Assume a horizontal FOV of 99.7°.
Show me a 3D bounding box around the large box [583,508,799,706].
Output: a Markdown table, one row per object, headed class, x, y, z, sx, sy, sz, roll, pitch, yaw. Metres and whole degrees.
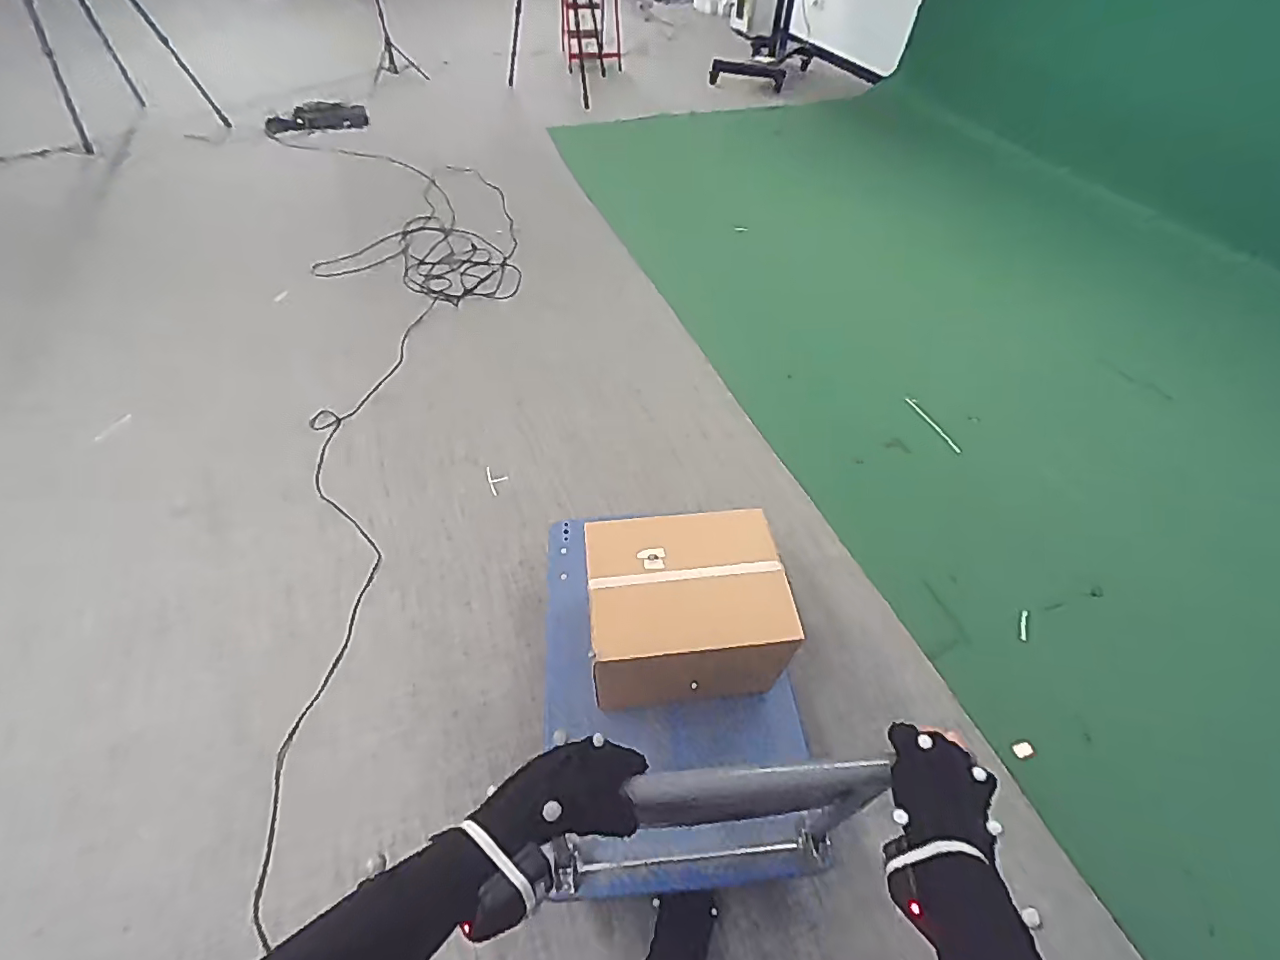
| class | x | y | z | sx | sy | sz | roll | pitch | yaw |
| --- | --- | --- | --- | --- | --- | --- | --- | --- | --- |
| large box | 0.090 | 0.292 | 1.228 | 0.408 | 0.320 | 0.320 | -5 | 51 | -6 |
